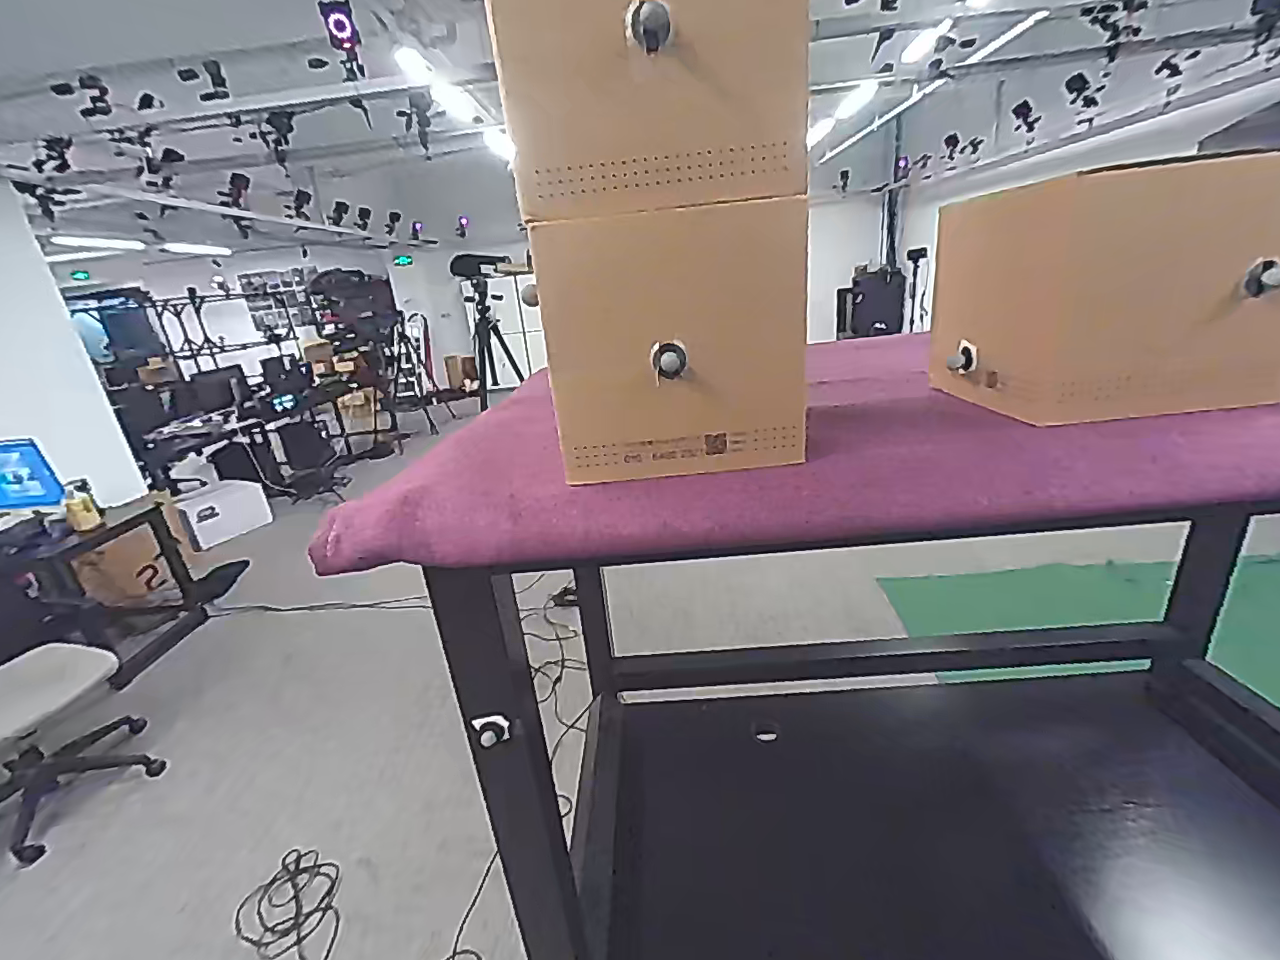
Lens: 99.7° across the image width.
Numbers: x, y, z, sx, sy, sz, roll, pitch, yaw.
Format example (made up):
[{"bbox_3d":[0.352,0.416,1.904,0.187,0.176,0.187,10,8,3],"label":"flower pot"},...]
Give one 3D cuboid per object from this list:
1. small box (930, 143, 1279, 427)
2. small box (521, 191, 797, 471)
[{"bbox_3d":[0.358,-0.149,0.430,0.179,0.176,0.168,-7,20,2],"label":"small box"},{"bbox_3d":[0.018,-0.109,0.416,0.168,0.176,0.179,-5,21,1],"label":"small box"}]
